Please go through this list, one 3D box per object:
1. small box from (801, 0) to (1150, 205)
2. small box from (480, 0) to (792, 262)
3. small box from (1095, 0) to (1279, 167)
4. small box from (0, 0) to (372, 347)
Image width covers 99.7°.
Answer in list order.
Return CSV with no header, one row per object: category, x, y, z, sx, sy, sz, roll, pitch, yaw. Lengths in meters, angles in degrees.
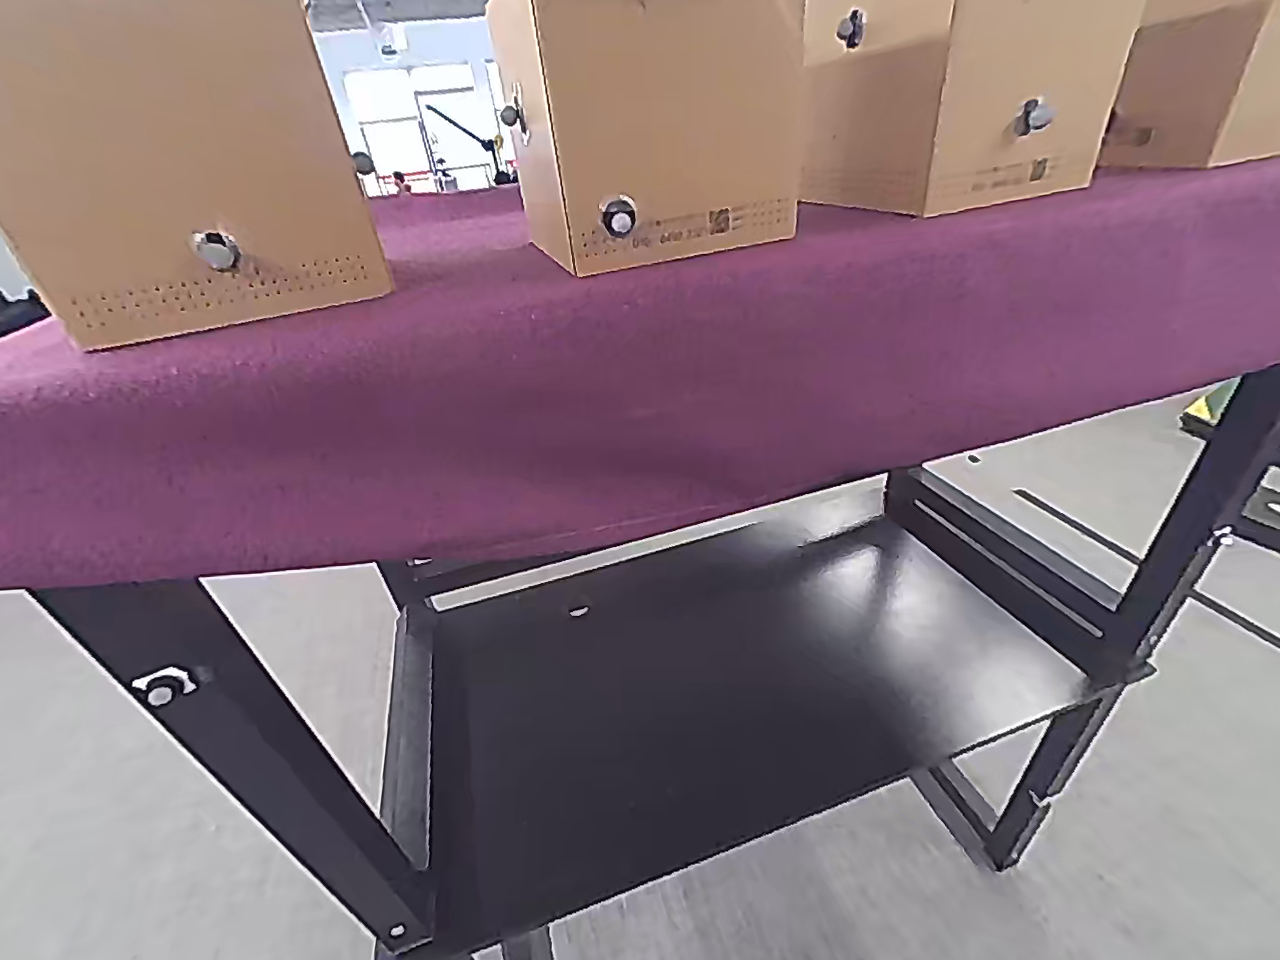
small box,0.244,-0.323,0.430,0.168,0.176,0.179,-16,34,-12
small box,-0.004,-0.261,0.382,0.168,0.176,0.179,-16,33,-13
small box,0.516,-0.385,0.473,0.179,0.176,0.168,-14,33,-9
small box,-0.284,-0.200,0.340,0.179,0.176,0.168,-19,35,-20
